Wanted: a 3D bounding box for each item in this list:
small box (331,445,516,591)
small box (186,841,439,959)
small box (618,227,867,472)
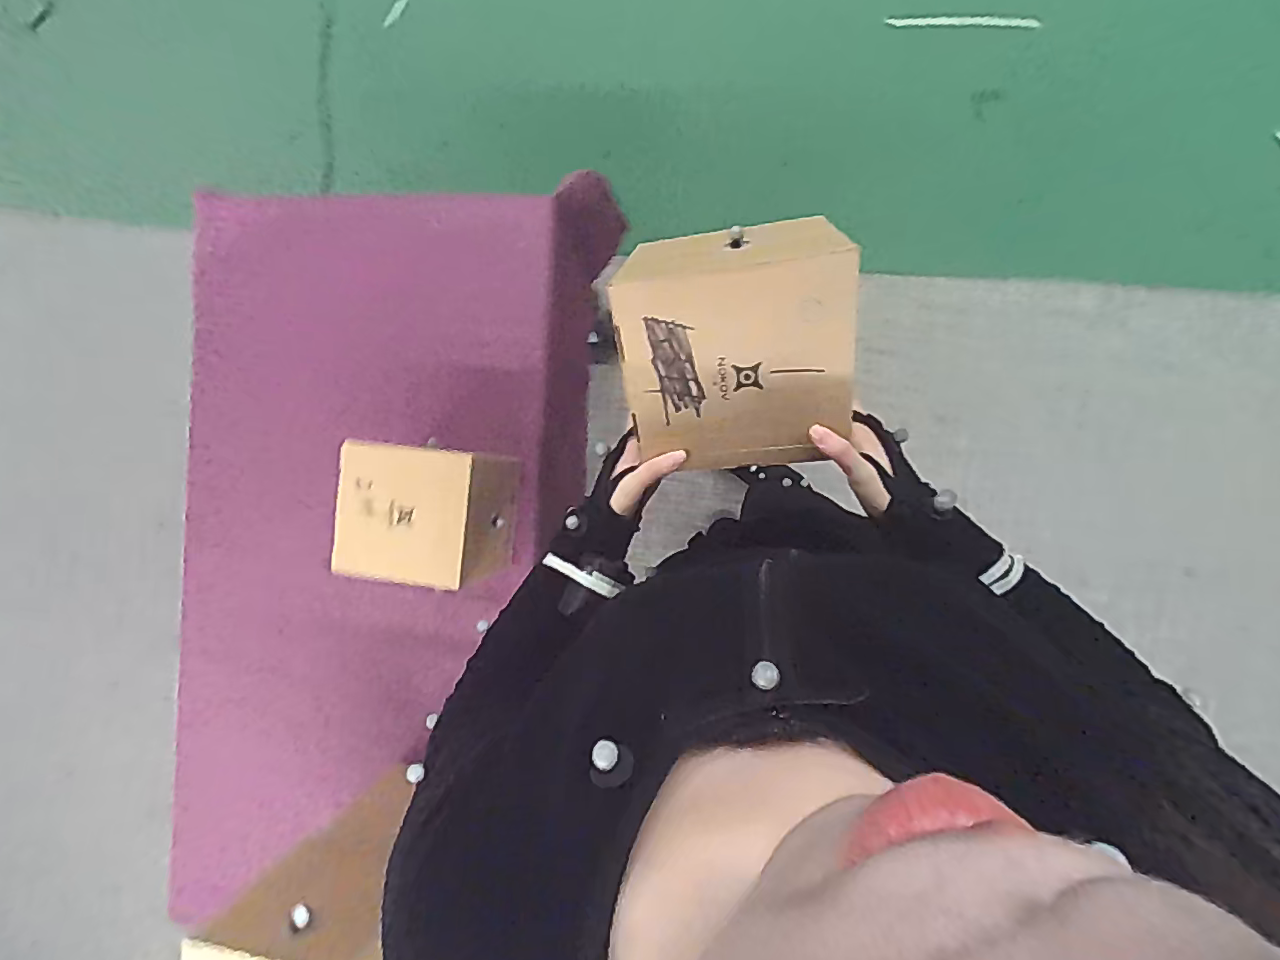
[{"bbox_3d":[-0.284,0.044,0.743,0.179,0.176,0.168,6,91,8],"label":"small box"},{"bbox_3d":[-0.347,0.534,0.590,0.179,0.176,0.168,3,91,7],"label":"small box"},{"bbox_3d":[0.089,-0.121,0.488,0.179,0.176,0.168,-3,122,10],"label":"small box"}]
